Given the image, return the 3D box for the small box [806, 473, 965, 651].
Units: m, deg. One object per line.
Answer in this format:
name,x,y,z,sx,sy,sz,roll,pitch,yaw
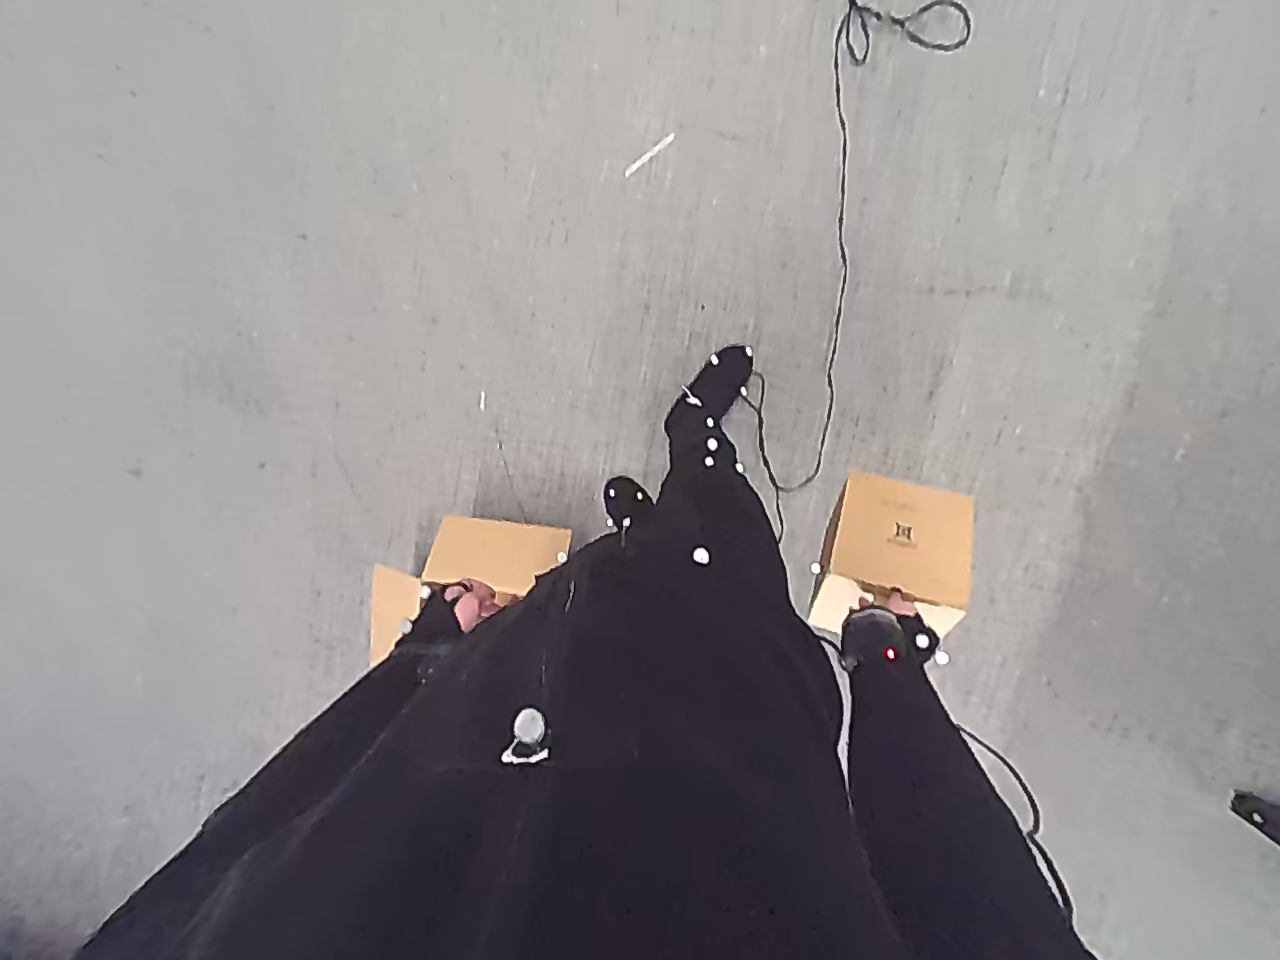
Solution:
small box,0.346,0.123,0.783,0.168,0.176,0.179,15,55,14
